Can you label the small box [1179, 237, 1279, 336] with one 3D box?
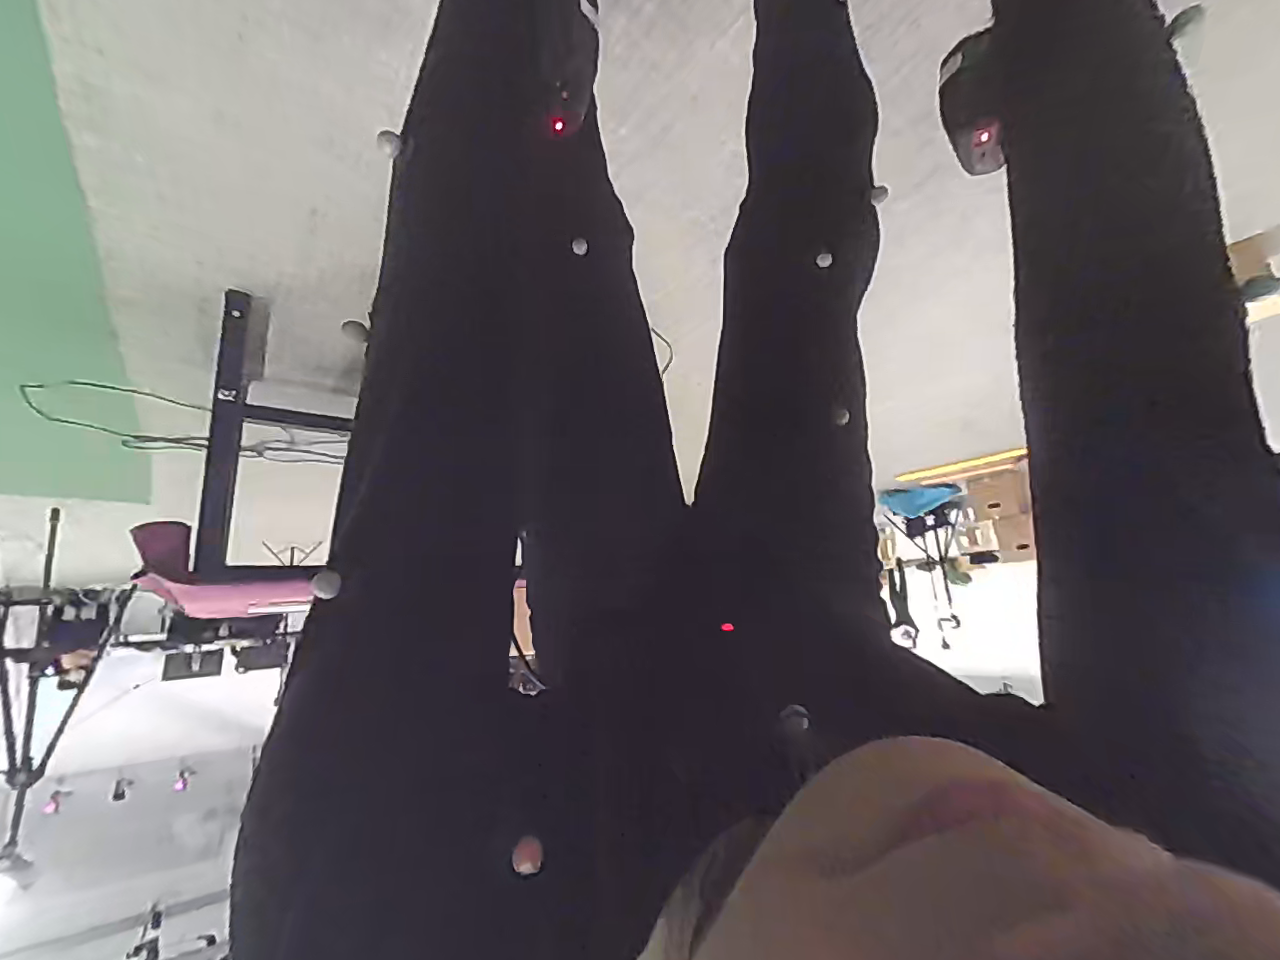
[{"bbox_3d":[1.591,-0.516,1.444,0.179,0.176,0.168,6,163,-34],"label":"small box"}]
